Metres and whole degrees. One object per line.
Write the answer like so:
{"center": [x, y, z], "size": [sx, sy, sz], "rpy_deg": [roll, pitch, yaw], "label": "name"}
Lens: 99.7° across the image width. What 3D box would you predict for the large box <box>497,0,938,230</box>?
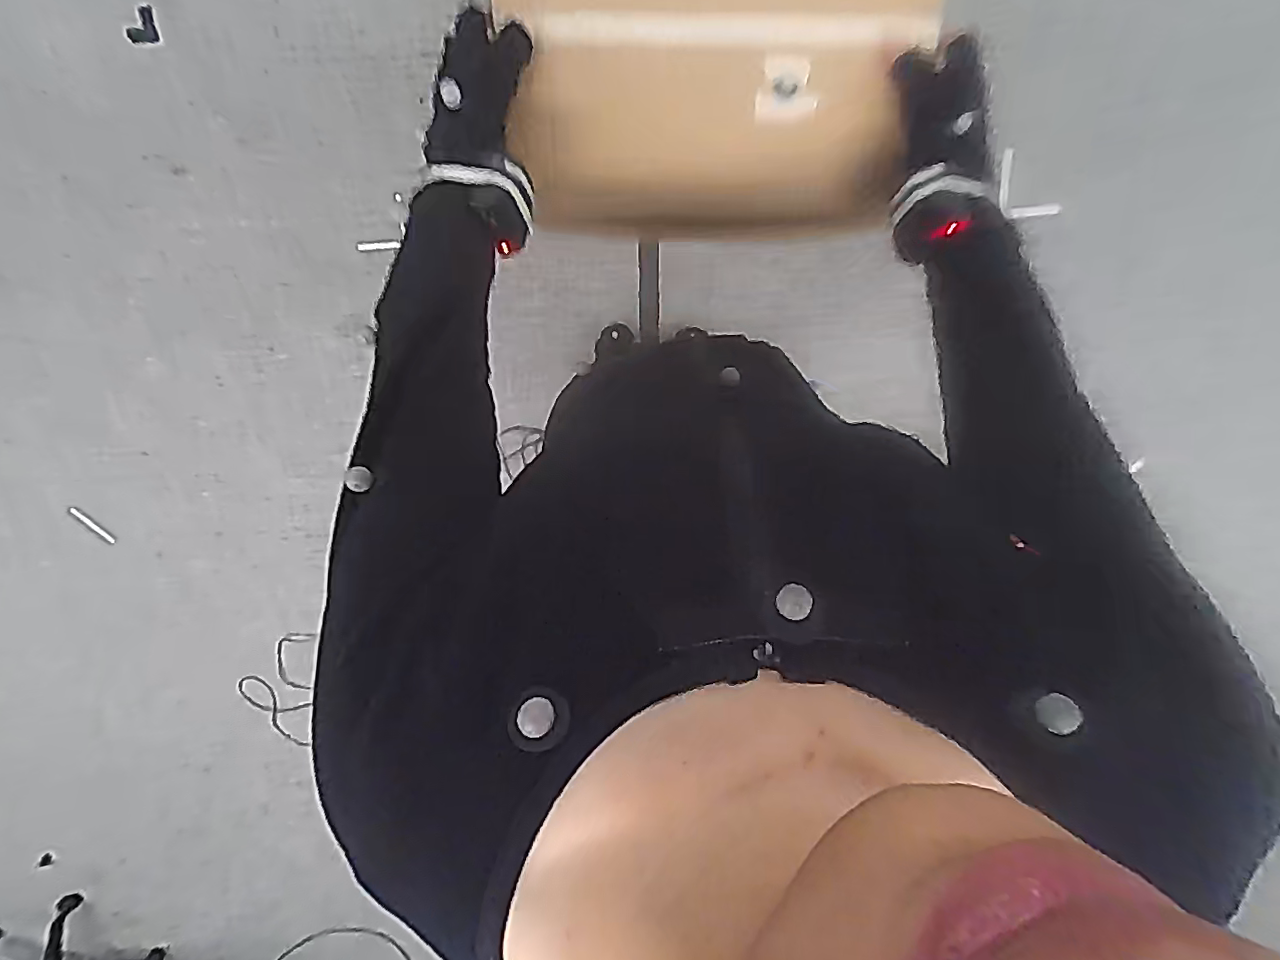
{"center": [0.067, -0.473, 0.626], "size": [0.408, 0.320, 0.320], "rpy_deg": [1, 111, -1], "label": "large box"}
